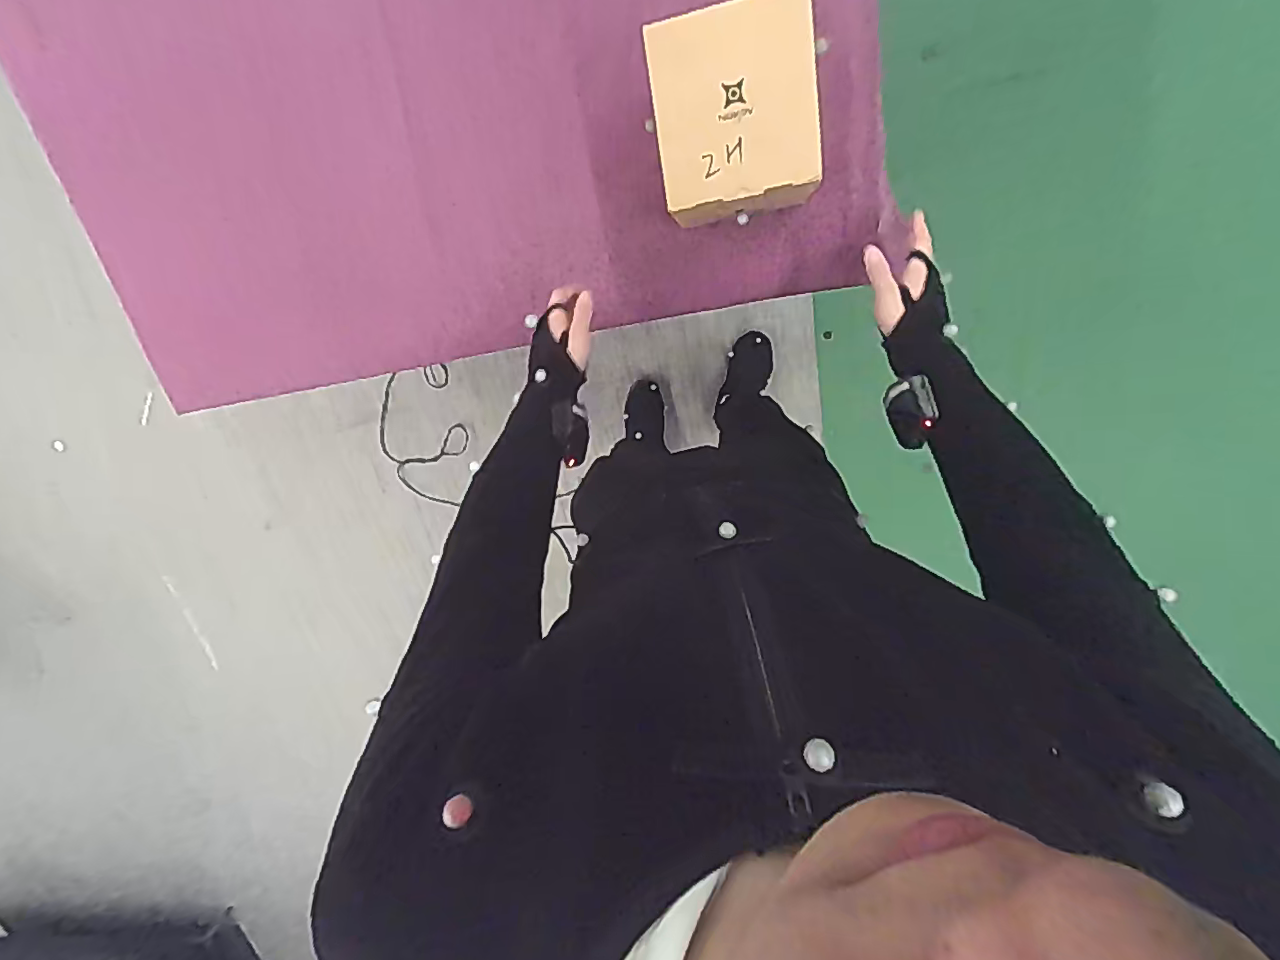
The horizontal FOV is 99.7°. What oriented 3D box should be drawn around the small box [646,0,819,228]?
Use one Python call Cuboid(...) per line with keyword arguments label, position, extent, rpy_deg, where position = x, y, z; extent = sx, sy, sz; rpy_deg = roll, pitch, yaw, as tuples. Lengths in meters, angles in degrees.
Cuboid(label="small box", position=(0.109, -0.410, 0.630), extent=(0.168, 0.176, 0.179), rpy_deg=(-6, 108, 12))
